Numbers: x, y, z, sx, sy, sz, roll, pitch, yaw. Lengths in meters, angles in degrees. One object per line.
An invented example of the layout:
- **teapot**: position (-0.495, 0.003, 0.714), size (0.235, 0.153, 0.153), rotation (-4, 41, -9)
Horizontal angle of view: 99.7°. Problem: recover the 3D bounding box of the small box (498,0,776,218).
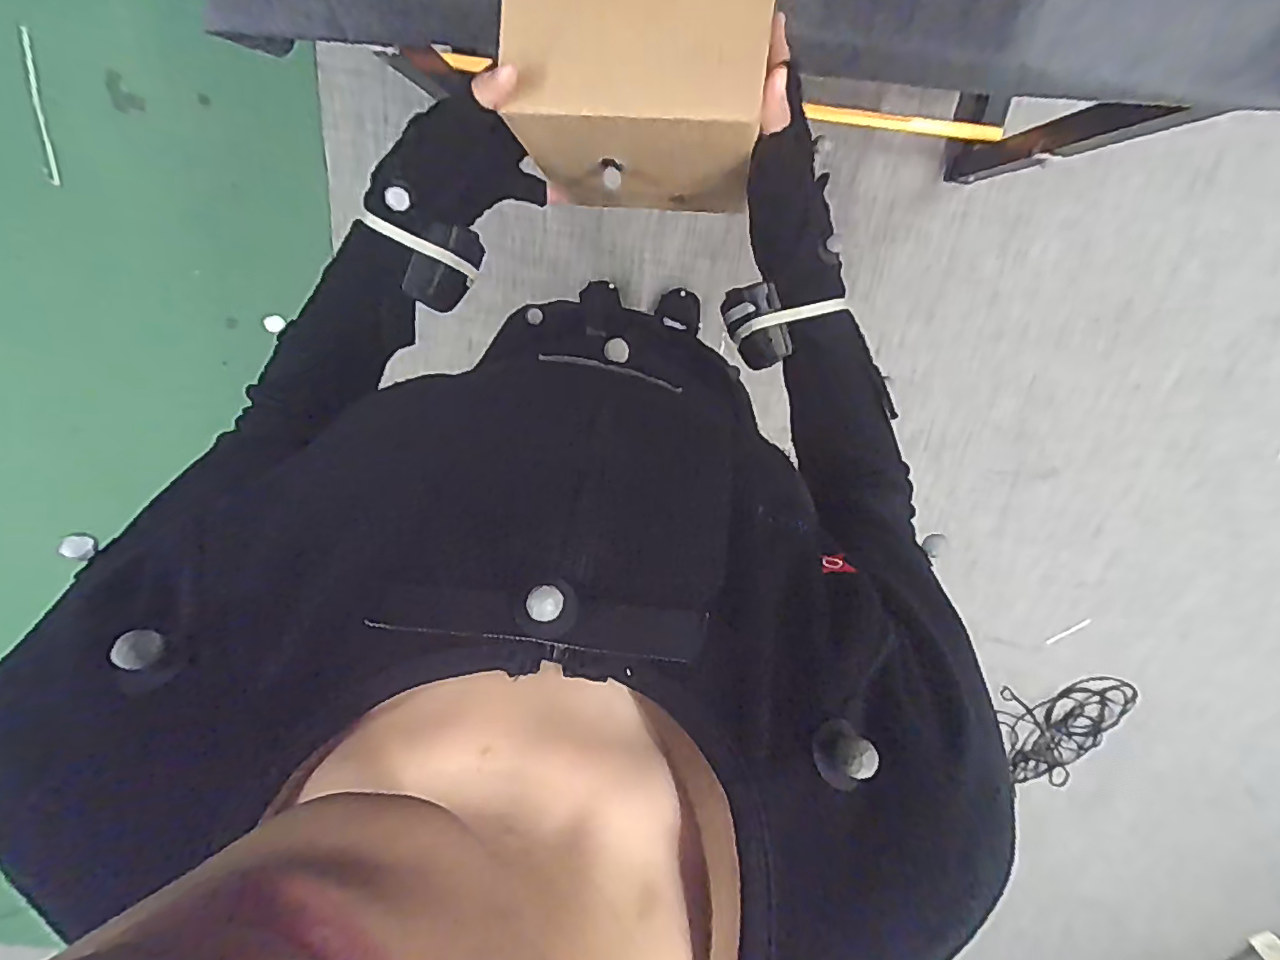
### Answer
- **small box**: position (0.011, -0.313, 0.398), size (0.168, 0.176, 0.179), rotation (7, 96, 8)
